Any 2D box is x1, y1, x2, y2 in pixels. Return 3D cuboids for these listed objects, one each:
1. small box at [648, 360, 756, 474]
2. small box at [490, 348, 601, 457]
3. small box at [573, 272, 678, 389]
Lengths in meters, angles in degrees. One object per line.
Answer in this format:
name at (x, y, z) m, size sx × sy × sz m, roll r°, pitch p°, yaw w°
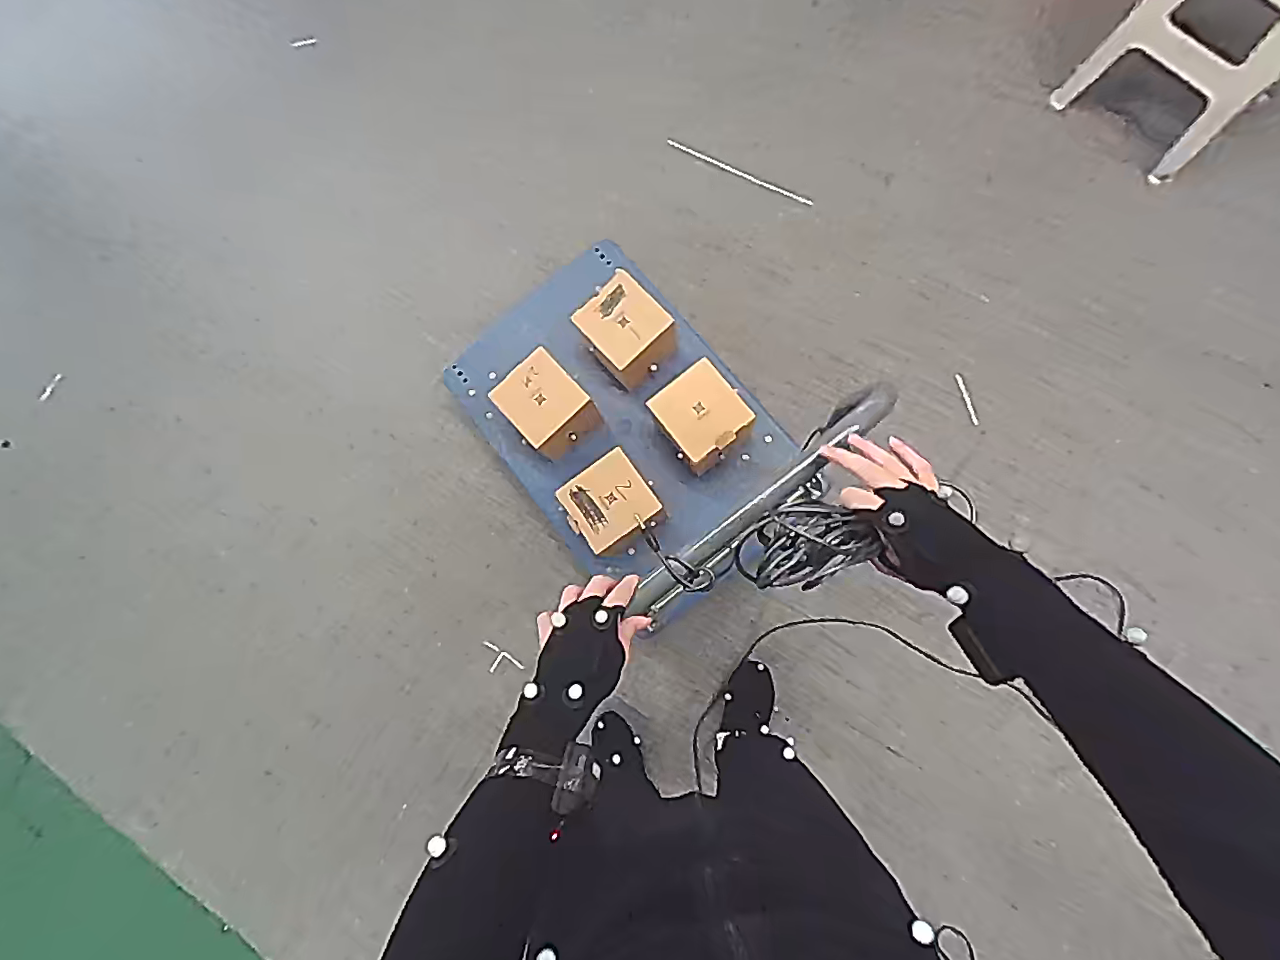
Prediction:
small box at (0.139, -0.134, 1.224) m, size 0.168 × 0.176 × 0.179 m, roll -38°, pitch 80°, yaw 1°
small box at (-0.212, -0.171, 1.273) m, size 0.168 × 0.176 × 0.179 m, roll -42°, pitch 79°, yaw -1°
small box at (-0.028, -0.342, 1.273) m, size 0.168 × 0.176 × 0.179 m, roll -42°, pitch 80°, yaw 0°
